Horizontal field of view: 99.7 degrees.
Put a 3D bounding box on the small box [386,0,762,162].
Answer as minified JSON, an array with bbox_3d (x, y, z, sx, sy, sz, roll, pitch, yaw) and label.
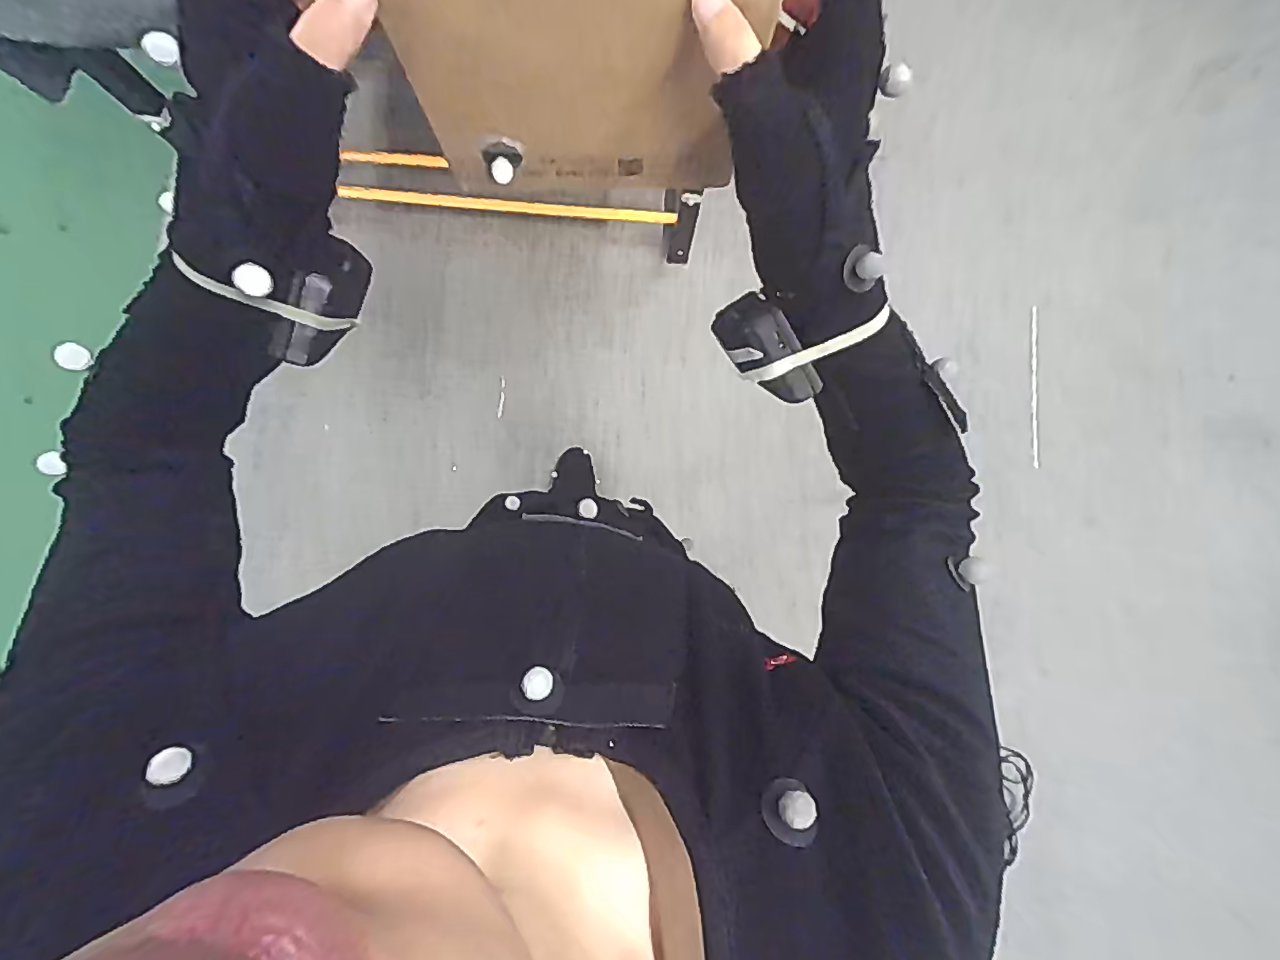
[{"bbox_3d":[-0.028,-0.280,0.252,0.168,0.176,0.179,-1,83,-2],"label":"small box"}]
